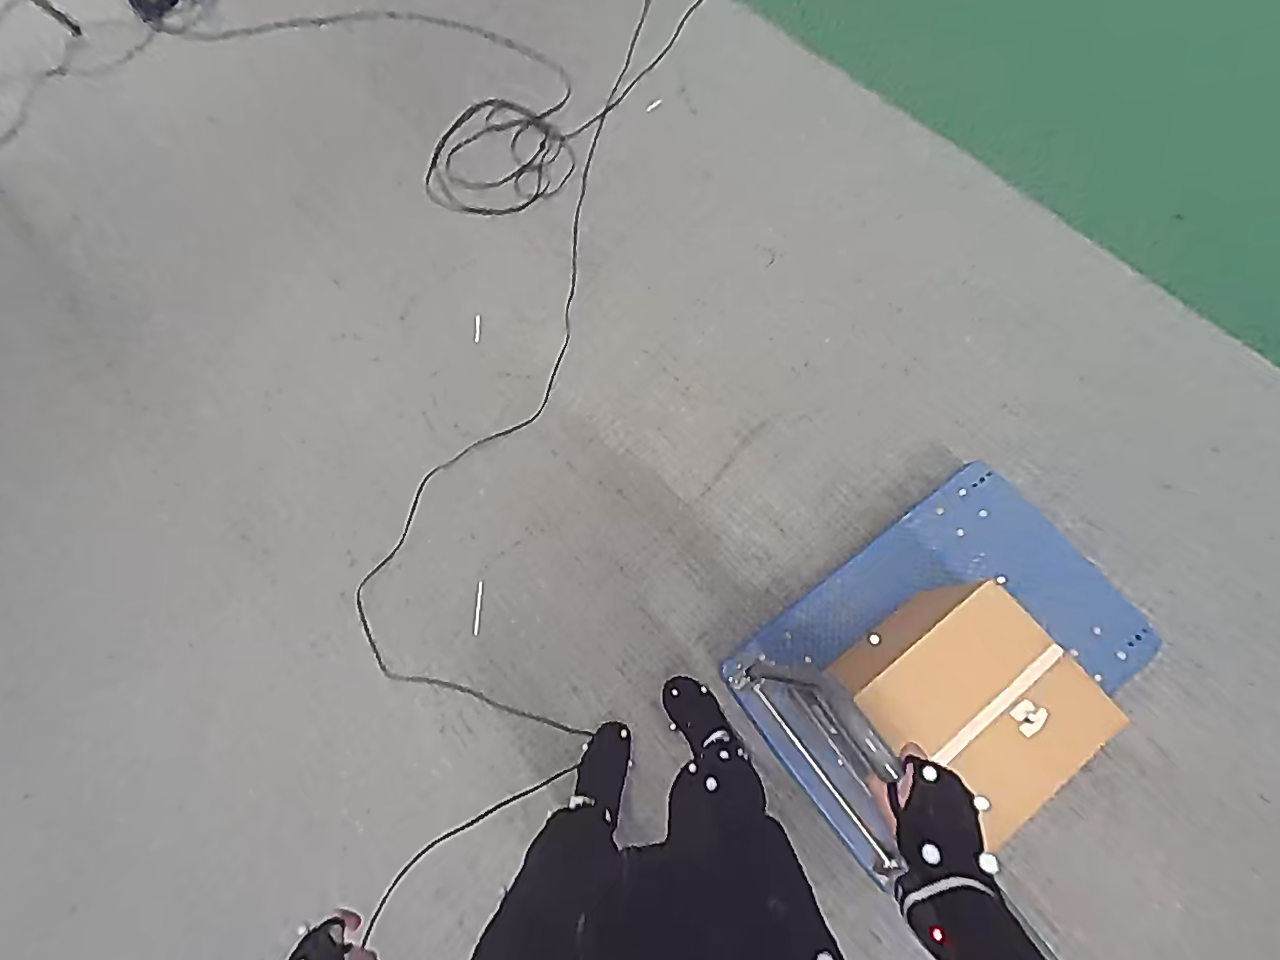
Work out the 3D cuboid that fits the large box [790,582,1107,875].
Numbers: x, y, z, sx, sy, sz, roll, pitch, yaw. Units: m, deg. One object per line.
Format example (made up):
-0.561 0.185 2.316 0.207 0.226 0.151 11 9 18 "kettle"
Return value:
0.582 0.469 1.099 0.408 0.320 0.320 -37 76 -9 "large box"
